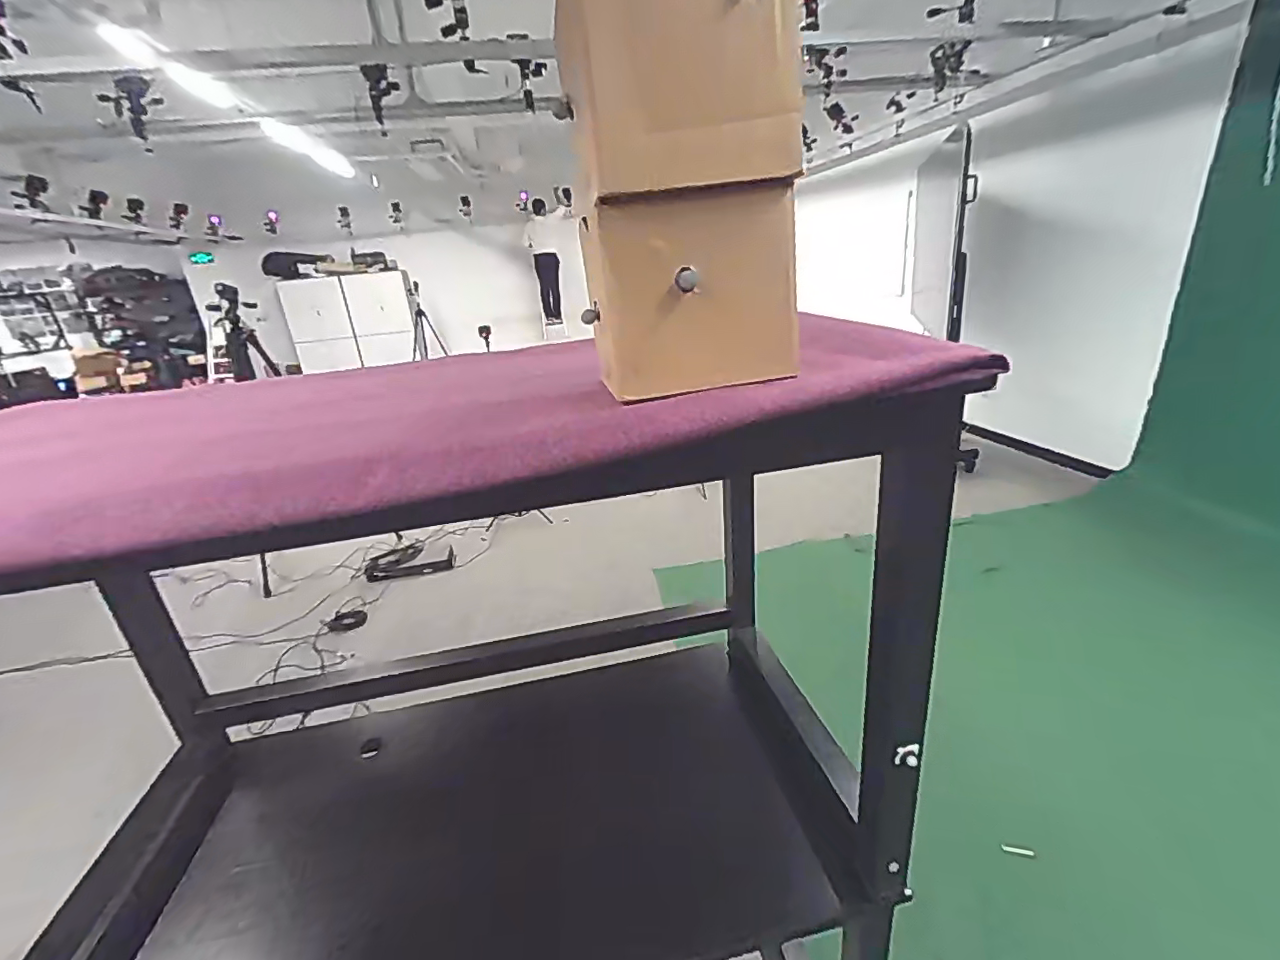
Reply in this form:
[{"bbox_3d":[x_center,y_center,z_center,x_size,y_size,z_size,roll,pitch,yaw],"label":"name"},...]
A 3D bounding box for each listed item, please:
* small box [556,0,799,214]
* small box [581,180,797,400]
[{"bbox_3d":[0.028,-0.332,0.480,0.179,0.176,0.168,-10,19,-7],"label":"small box"},{"bbox_3d":[0.044,-0.184,0.546,0.179,0.176,0.168,-10,20,-7],"label":"small box"}]
